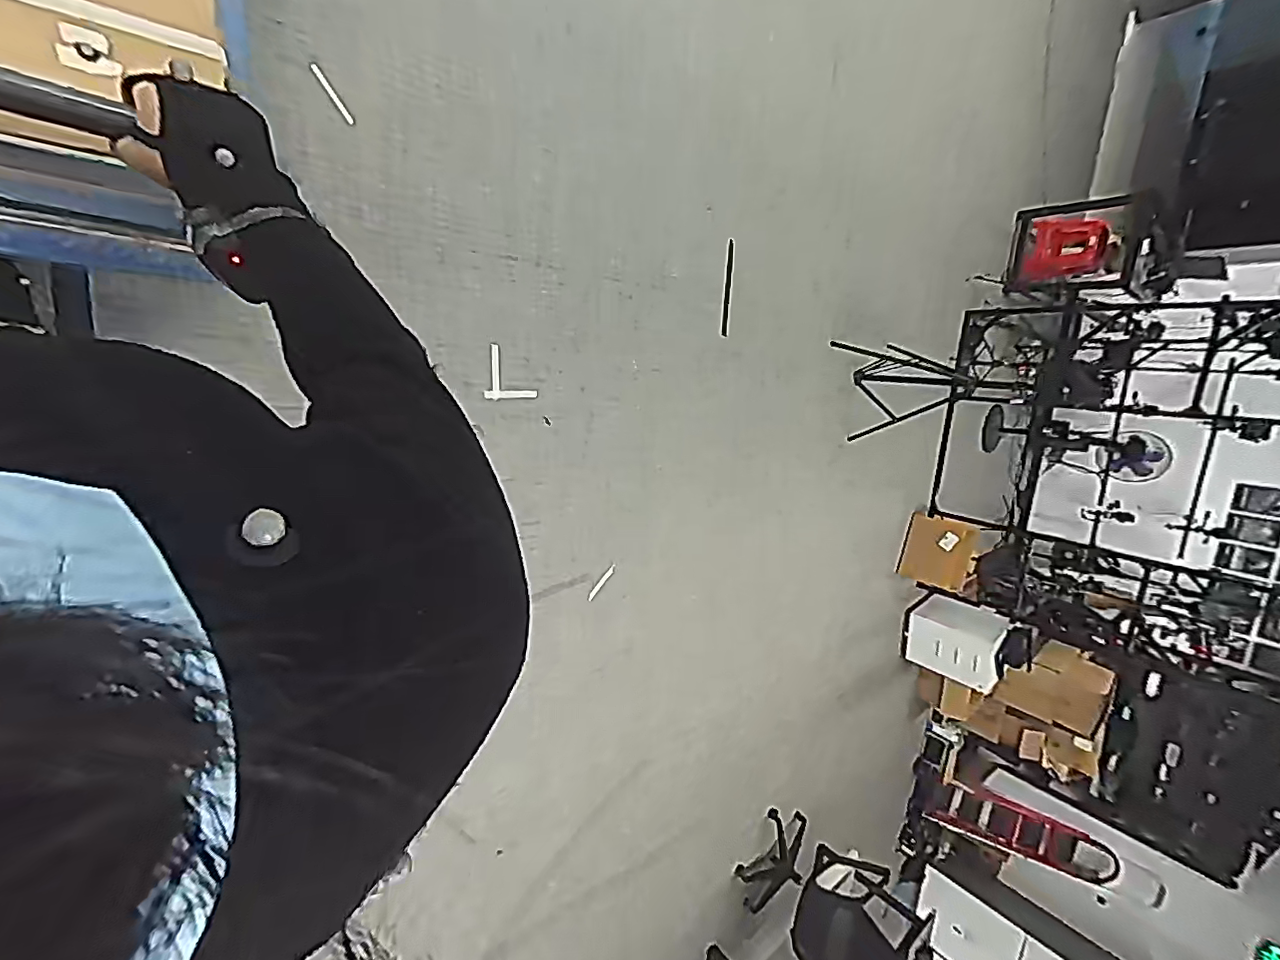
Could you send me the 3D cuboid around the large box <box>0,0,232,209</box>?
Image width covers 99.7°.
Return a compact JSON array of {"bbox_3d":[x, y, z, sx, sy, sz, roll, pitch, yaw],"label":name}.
[{"bbox_3d":[-0.832,-0.590,0.723,0.408,0.320,0.320,-9,108,-42],"label":"large box"}]
